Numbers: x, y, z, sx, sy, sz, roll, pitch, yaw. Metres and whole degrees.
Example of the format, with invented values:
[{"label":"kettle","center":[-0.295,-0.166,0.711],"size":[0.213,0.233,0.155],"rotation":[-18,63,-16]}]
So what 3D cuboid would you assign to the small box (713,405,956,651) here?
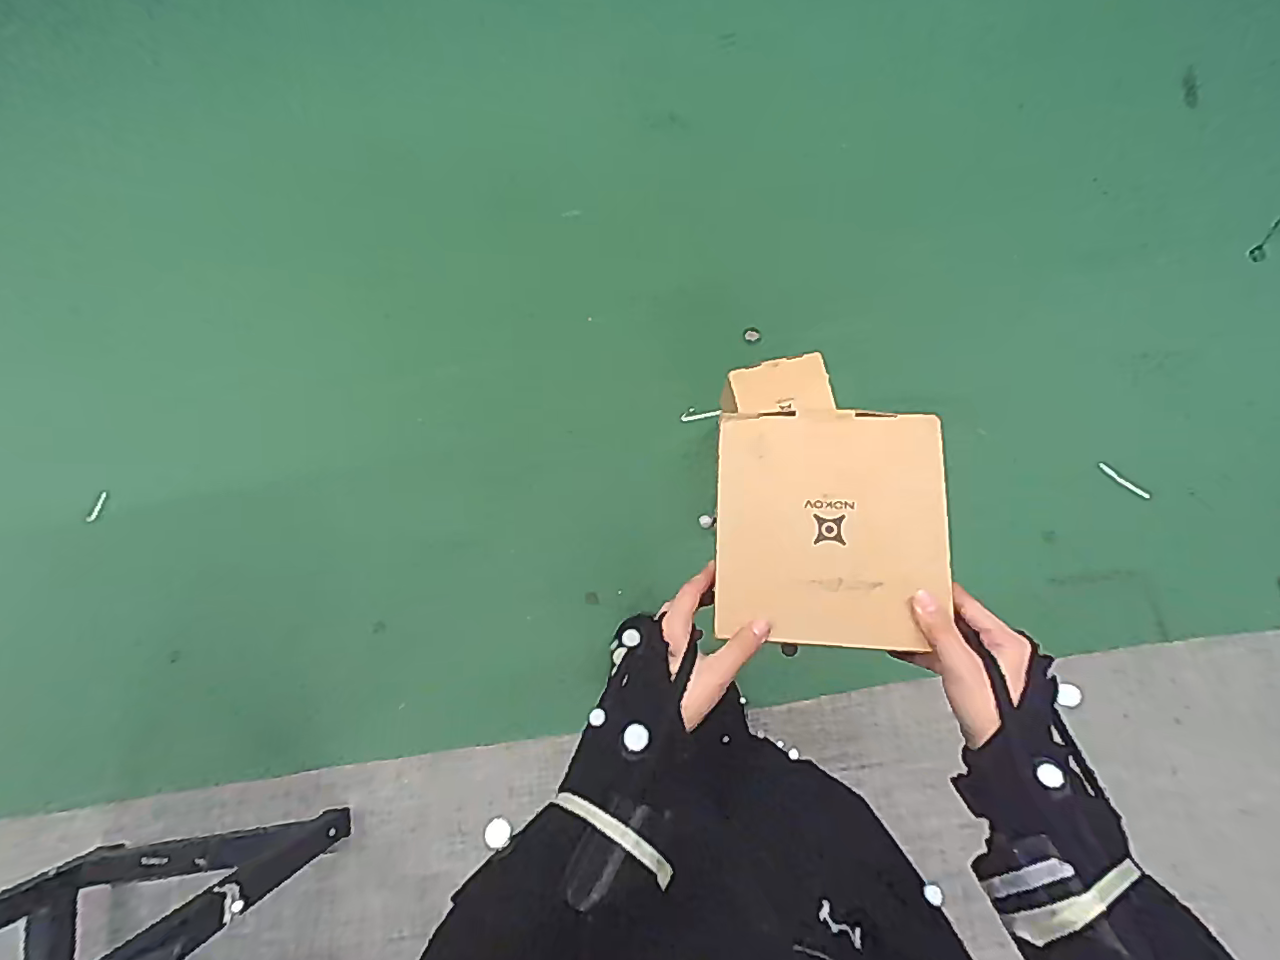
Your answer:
[{"label":"small box","center":[0.152,0.048,0.476],"size":[0.168,0.176,0.179],"rotation":[2,77,8]}]

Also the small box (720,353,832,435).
[{"label":"small box","center":[0.251,-0.110,1.007],"size":[0.168,0.176,0.179],"rotation":[-12,79,2]}]
